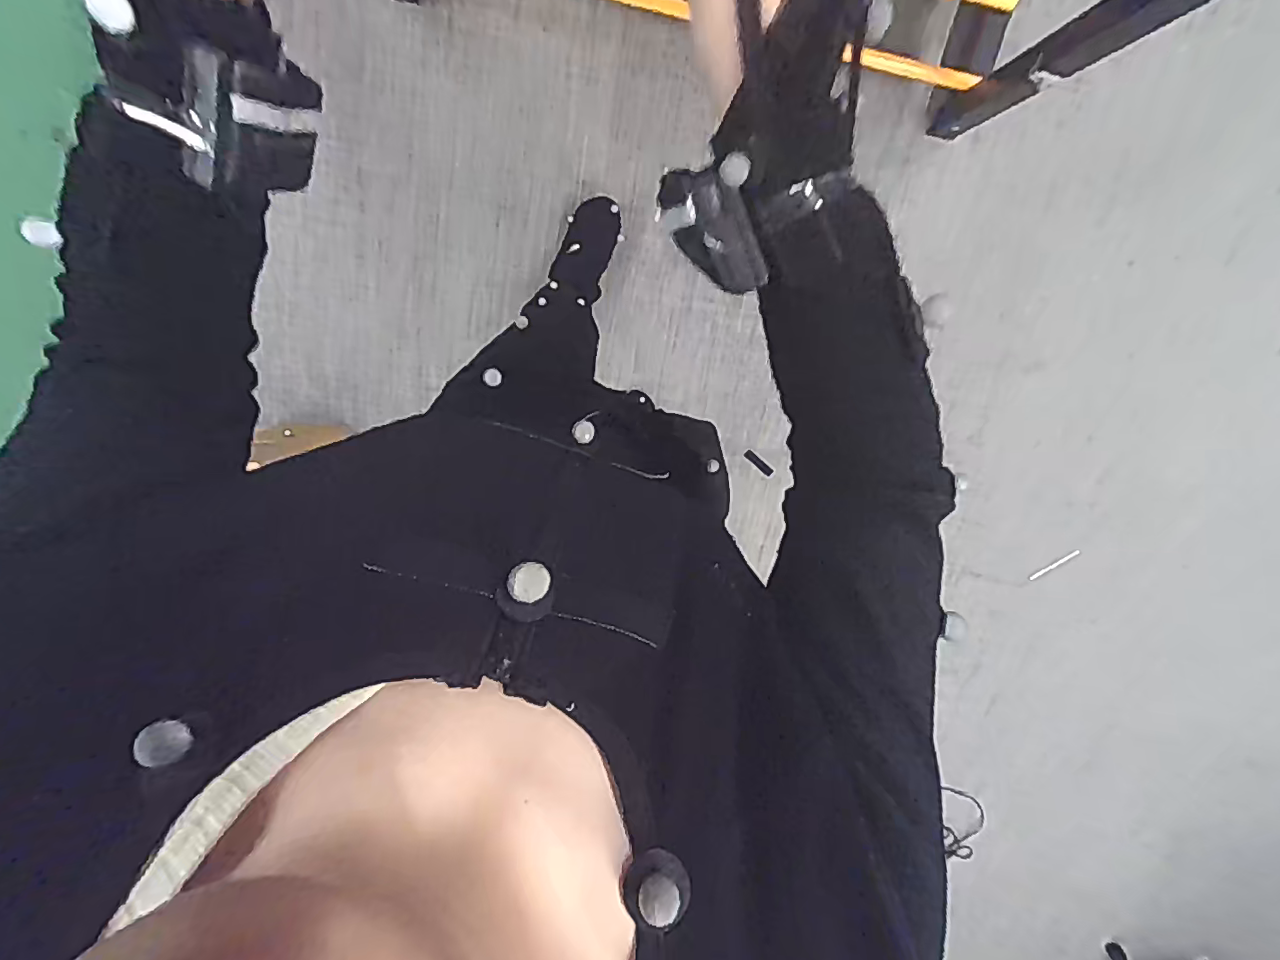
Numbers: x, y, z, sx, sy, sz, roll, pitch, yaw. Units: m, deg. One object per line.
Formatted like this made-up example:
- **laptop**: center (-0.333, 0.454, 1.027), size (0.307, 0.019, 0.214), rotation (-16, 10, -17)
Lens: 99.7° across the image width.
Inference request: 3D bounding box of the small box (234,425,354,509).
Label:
- **small box**: center (-0.800, -0.034, 1.276), size (0.179, 0.176, 0.168), rotation (1, 108, 0)
